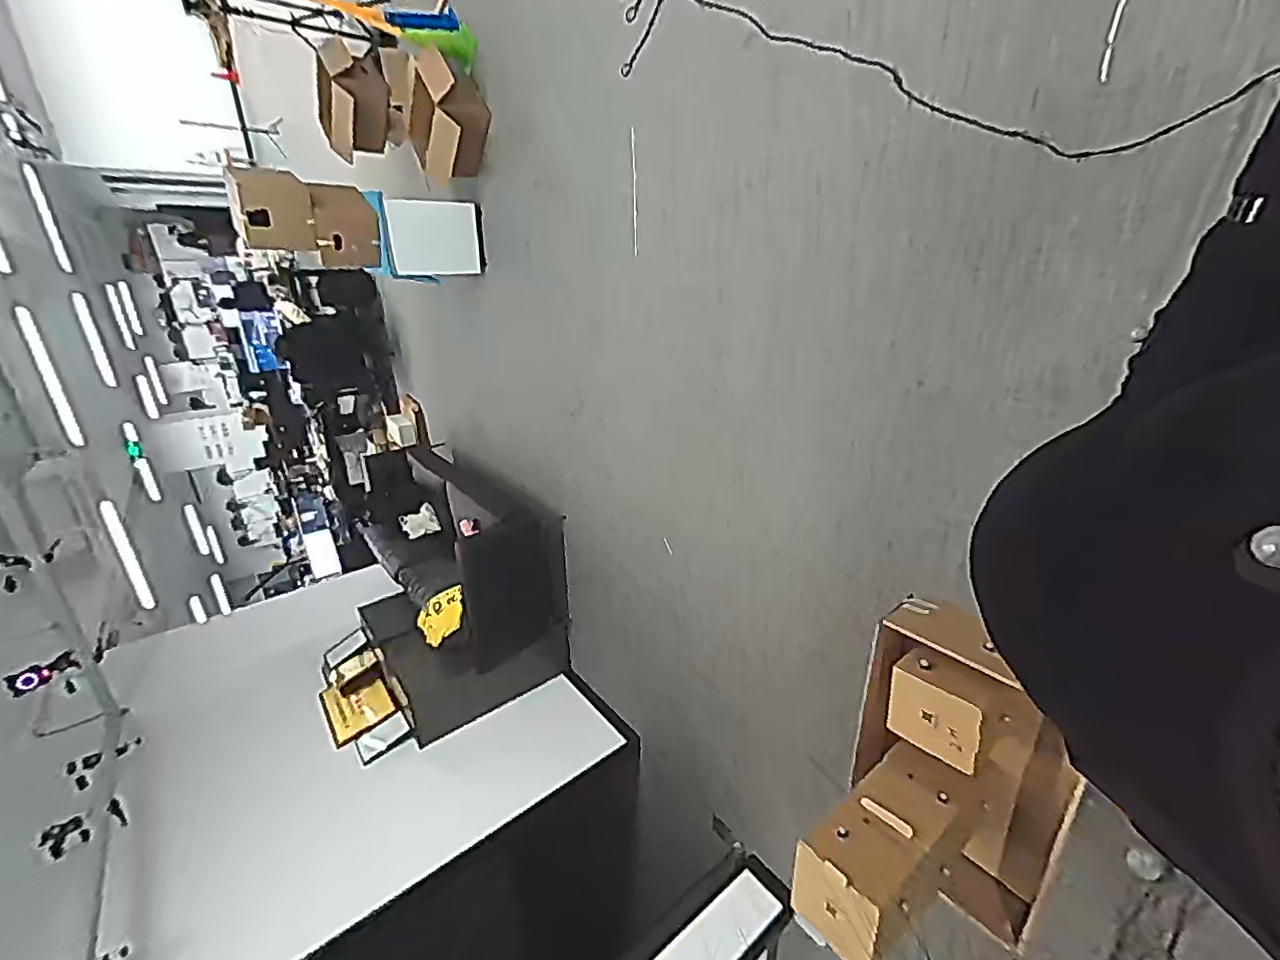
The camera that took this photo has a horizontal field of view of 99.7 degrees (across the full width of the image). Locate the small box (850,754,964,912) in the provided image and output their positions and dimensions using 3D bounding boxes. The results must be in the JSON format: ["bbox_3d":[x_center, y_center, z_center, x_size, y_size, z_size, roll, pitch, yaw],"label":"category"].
[{"bbox_3d":[0.545,0.713,1.117,0.168,0.176,0.179,17,115,49],"label":"small box"}]

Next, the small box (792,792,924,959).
[{"bbox_3d":[0.413,0.743,1.025,0.168,0.176,0.179,21,118,48],"label":"small box"}]
